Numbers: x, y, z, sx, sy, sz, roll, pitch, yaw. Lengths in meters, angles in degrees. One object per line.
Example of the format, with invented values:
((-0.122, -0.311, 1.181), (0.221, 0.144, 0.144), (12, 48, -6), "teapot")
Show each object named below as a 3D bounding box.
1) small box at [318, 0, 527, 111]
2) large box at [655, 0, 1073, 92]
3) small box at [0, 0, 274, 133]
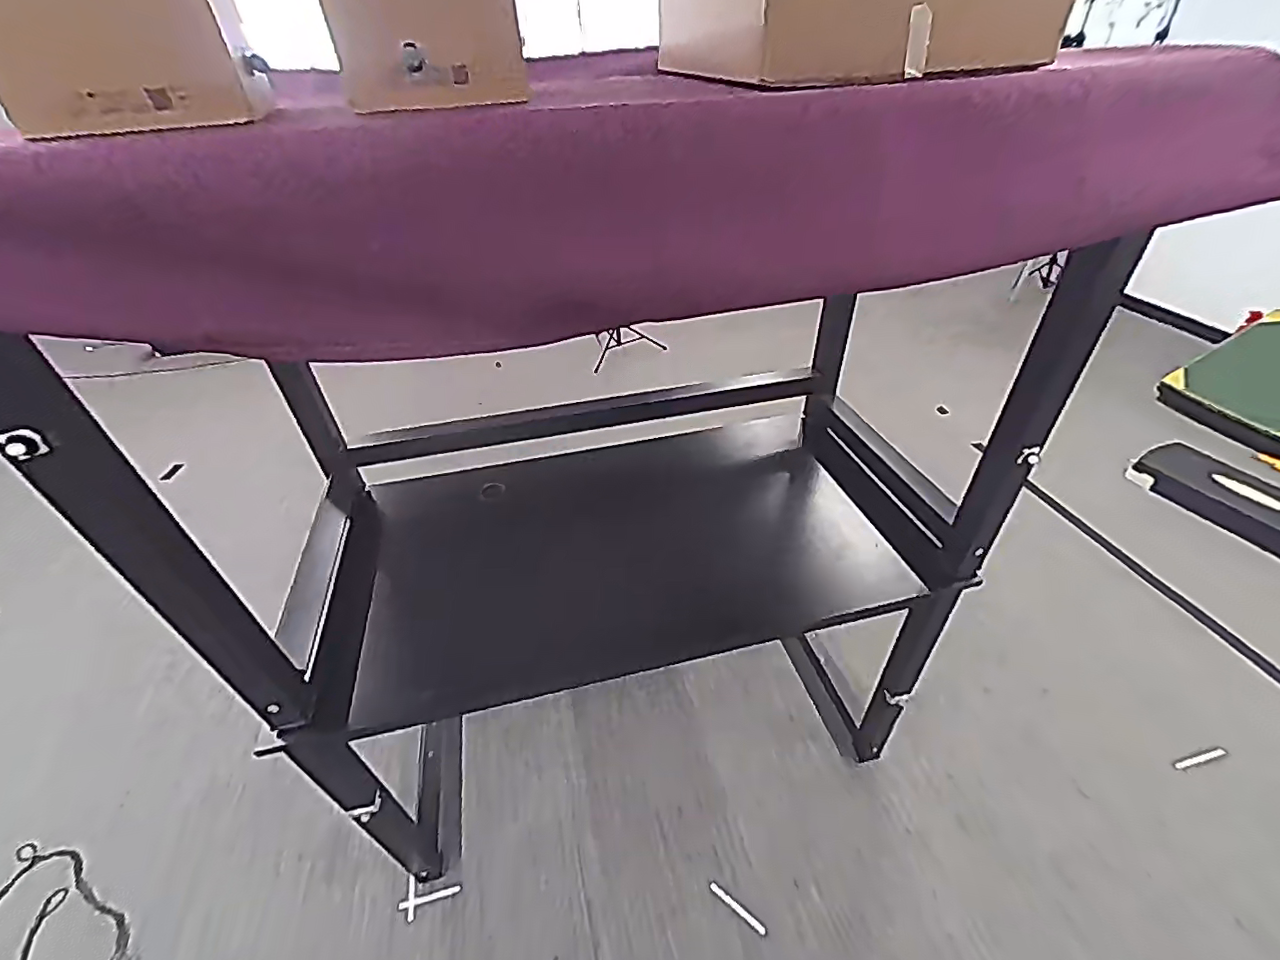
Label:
((-0.210, -0.464, 0.520), (0.168, 0.176, 0.179), (-12, 40, -9), "small box")
((0.205, -0.610, 0.563), (0.320, 0.320, 0.408), (-9, 38, -8), "large box")
((-0.437, -0.398, 0.451), (0.168, 0.176, 0.179), (-17, 40, -16), "small box")
